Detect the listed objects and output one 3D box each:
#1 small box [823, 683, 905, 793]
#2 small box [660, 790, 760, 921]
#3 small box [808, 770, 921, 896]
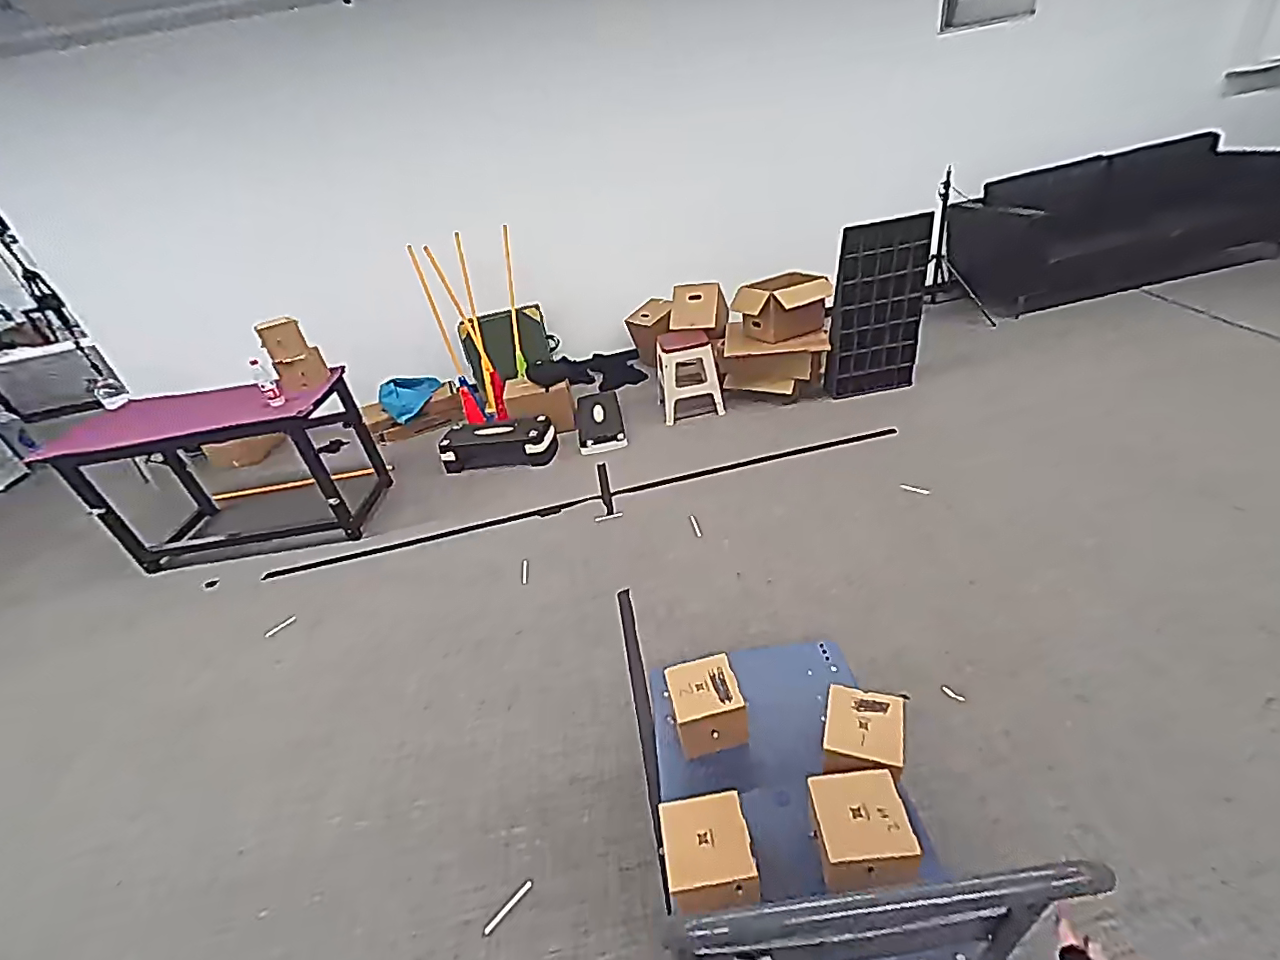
[{"bbox_3d":[0.531,0.623,1.283,0.168,0.176,0.179,4,36,23],"label":"small box"},{"bbox_3d":[0.147,0.794,1.142,0.179,0.176,0.168,-10,32,0],"label":"small box"},{"bbox_3d":[0.459,0.737,1.128,0.179,0.176,0.168,-9,33,5],"label":"small box"}]
